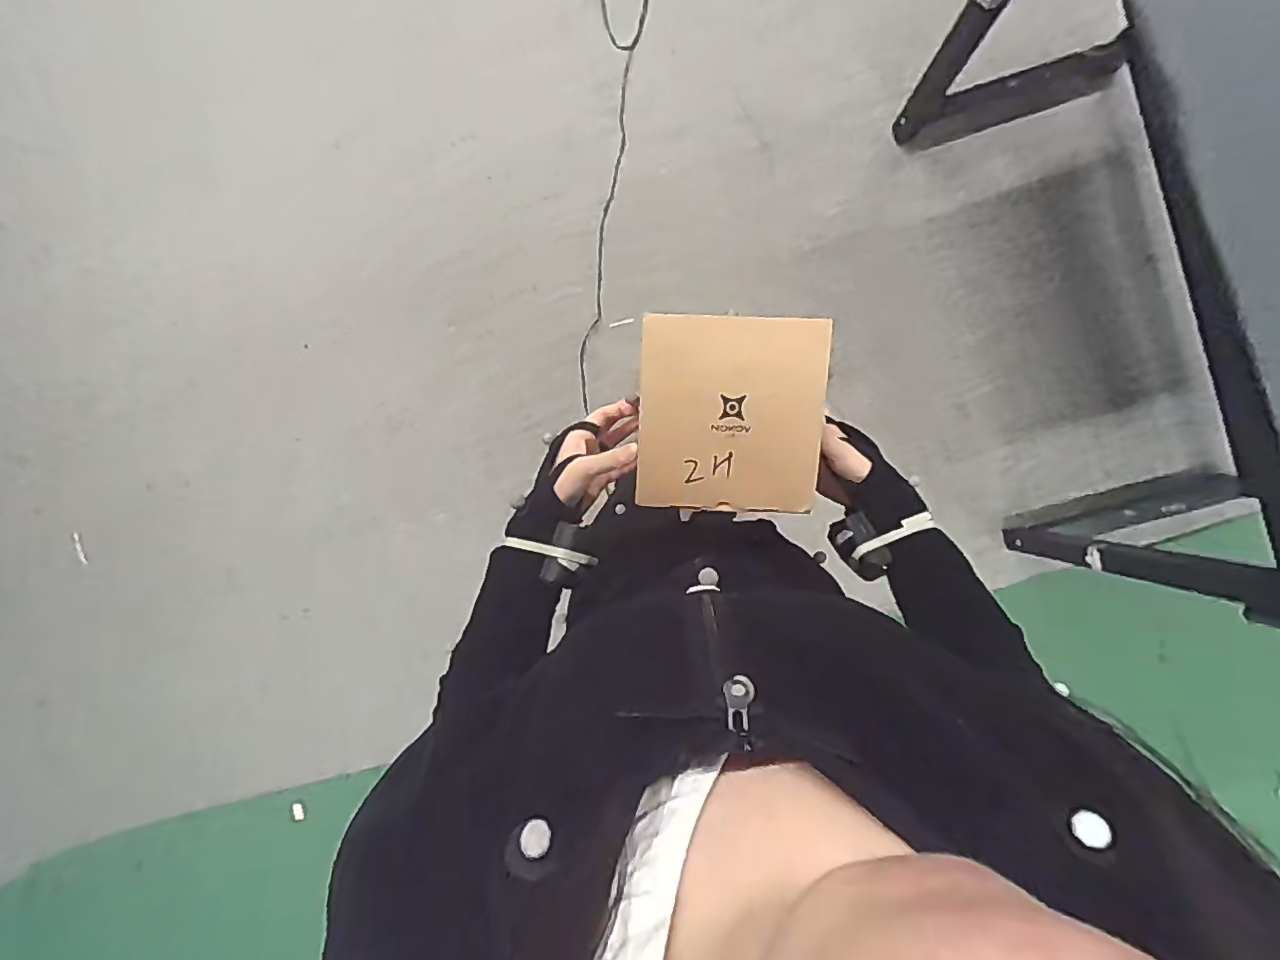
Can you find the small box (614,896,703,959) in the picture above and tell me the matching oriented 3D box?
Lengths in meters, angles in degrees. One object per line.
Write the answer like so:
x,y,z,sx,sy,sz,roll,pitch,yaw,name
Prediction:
0.050,1.146,1.276,0.168,0.176,0.179,-21,90,4,small box
